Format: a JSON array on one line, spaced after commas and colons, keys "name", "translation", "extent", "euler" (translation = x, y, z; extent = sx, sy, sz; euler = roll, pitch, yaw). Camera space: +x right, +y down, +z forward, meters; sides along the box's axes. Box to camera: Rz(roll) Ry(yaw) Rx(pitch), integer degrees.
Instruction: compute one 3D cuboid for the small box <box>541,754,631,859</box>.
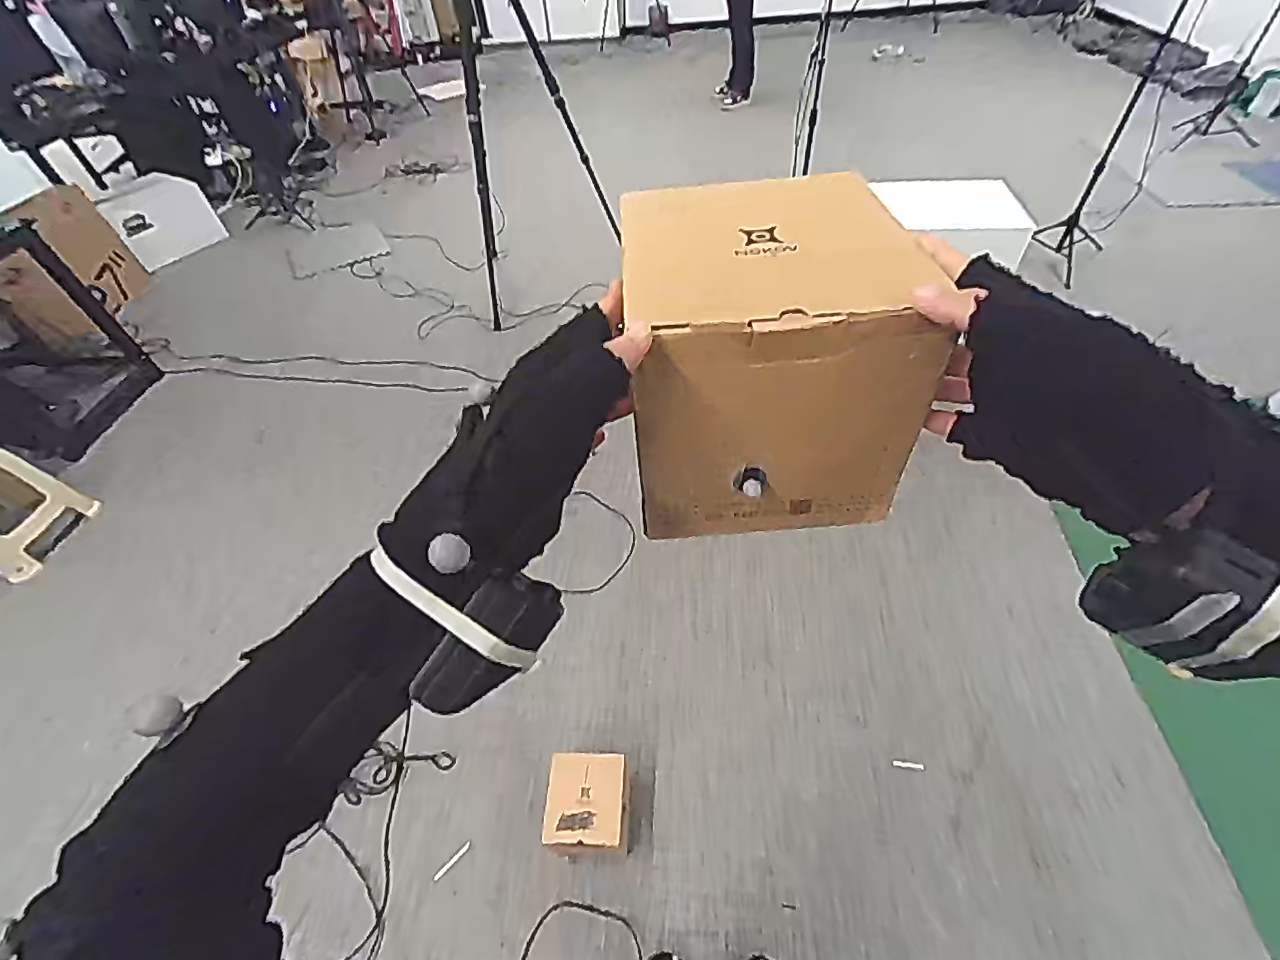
[{"name": "small box", "translation": [-0.112, 0.736, 1.215], "extent": [0.168, 0.176, 0.179], "euler": [-1, 48, 5]}]
